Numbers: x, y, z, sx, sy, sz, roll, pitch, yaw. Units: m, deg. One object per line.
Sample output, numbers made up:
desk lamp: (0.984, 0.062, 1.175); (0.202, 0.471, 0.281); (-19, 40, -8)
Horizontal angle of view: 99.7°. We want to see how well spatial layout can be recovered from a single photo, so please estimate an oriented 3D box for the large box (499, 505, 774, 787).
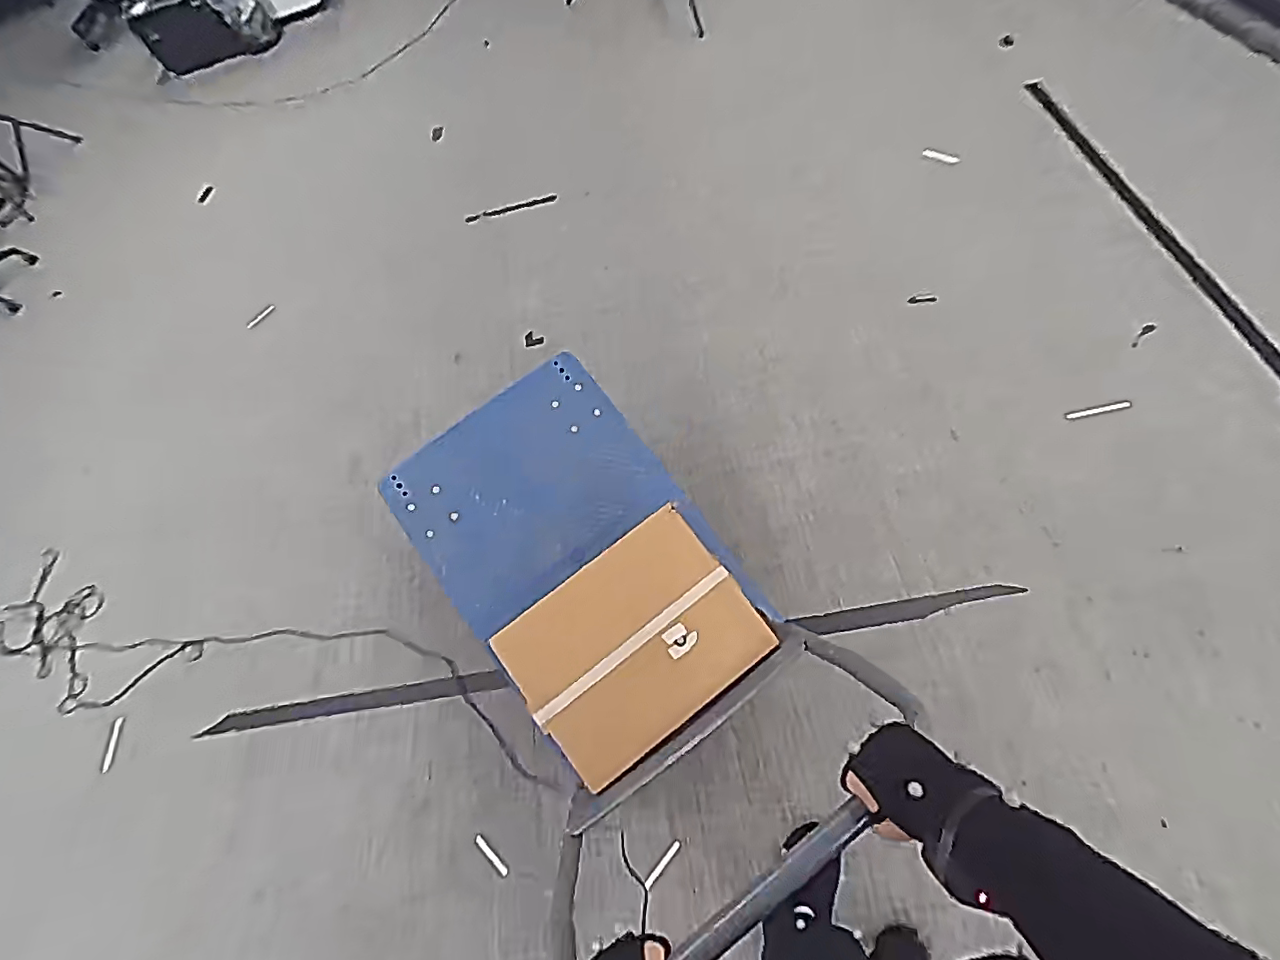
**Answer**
large box: (-0.007, 0.314, 1.100); (0.408, 0.320, 0.320); (-38, 82, -7)
